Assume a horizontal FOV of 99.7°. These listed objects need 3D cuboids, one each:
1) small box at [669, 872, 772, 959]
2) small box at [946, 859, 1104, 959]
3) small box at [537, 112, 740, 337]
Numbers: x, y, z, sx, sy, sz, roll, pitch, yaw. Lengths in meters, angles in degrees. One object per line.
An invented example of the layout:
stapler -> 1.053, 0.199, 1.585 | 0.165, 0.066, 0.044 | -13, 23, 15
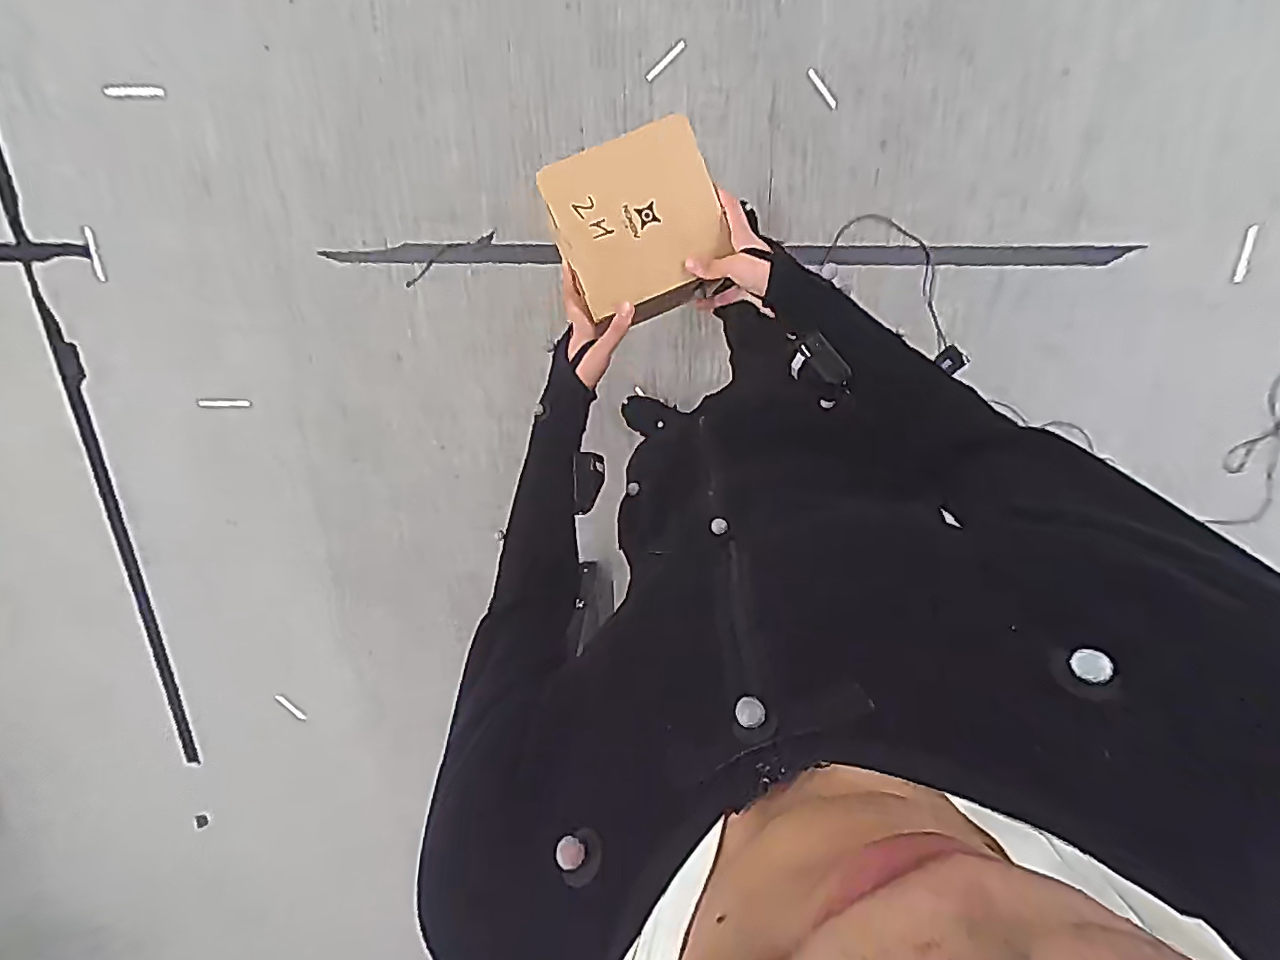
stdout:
small box -> 0.151, 0.917, 1.071 | 0.179, 0.176, 0.168 | 0, 104, 0
small box -> 0.728, 0.879, 1.047 | 0.168, 0.176, 0.179 | 6, 107, 0
small box -> -0.005, -0.288, 0.650 | 0.179, 0.176, 0.168 | -23, 97, 0
